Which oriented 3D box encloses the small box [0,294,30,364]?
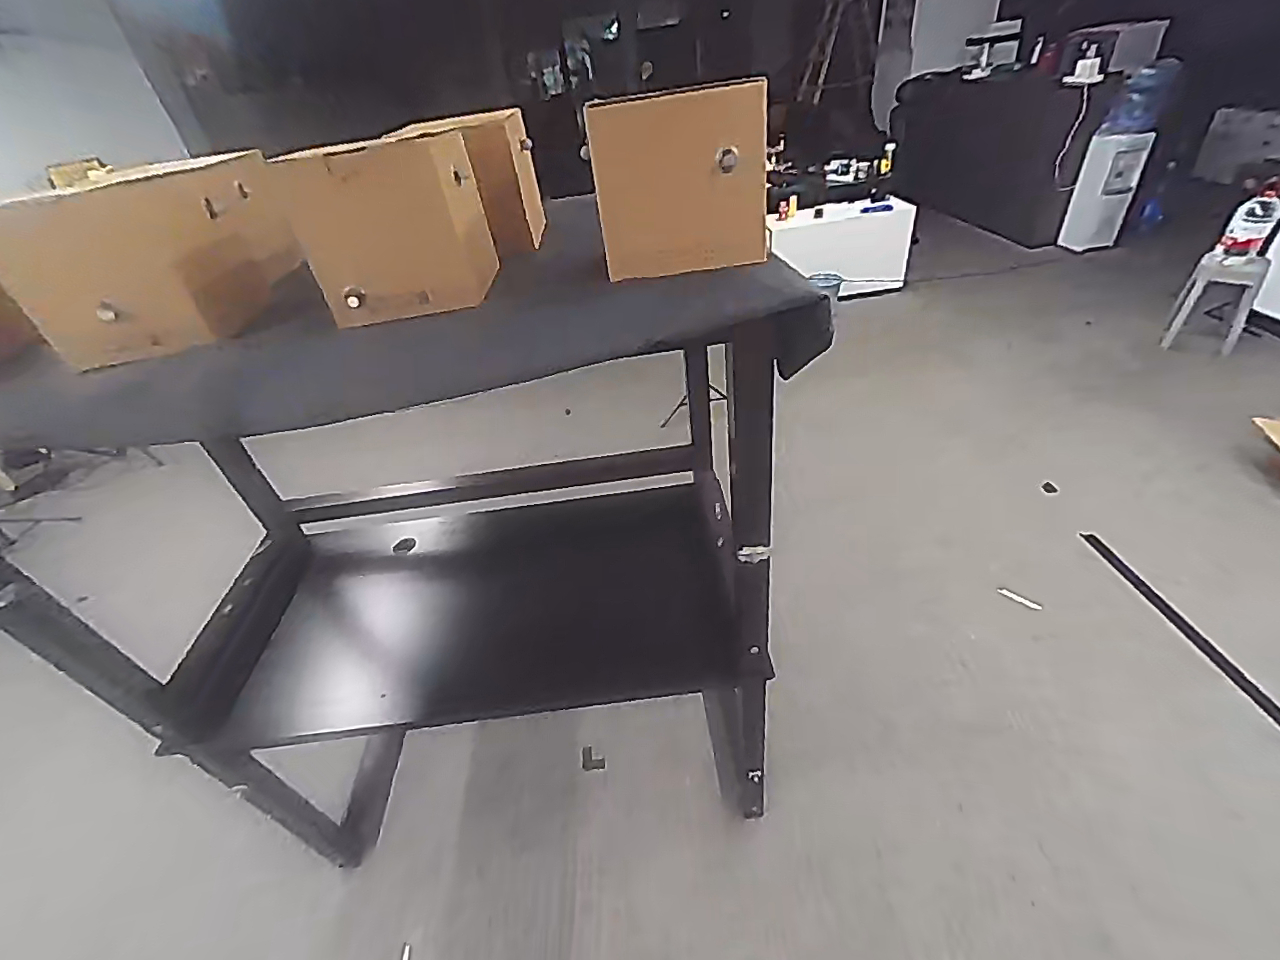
[{"bbox_3d":[-0.888,-0.189,0.619,0.168,0.176,0.179,-12,39,-5],"label":"small box"}]

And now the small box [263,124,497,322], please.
[{"bbox_3d":[-0.275,-0.292,0.624,0.168,0.176,0.179,-9,36,1],"label":"small box"}]

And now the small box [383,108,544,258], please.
[{"bbox_3d":[-0.245,-0.434,0.802,0.168,0.176,0.179,-8,39,2],"label":"small box"}]
